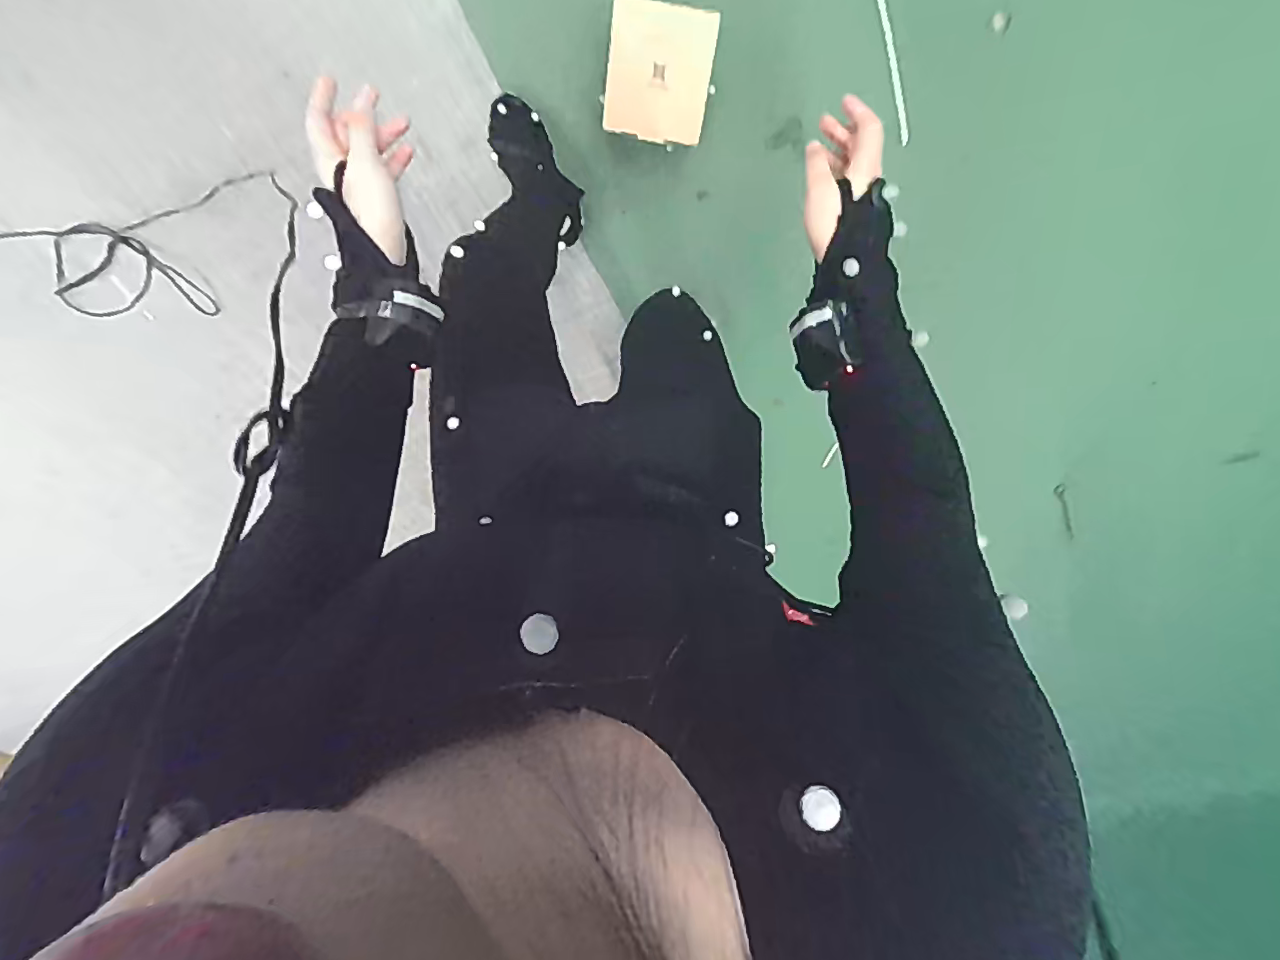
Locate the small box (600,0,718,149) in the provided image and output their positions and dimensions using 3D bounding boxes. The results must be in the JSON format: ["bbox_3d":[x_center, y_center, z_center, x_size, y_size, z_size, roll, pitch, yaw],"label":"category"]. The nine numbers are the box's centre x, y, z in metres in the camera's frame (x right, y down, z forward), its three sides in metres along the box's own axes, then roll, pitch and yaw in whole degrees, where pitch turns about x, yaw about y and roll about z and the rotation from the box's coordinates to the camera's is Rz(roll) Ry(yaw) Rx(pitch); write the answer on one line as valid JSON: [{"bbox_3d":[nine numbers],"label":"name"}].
[{"bbox_3d":[0.029,-0.684,0.926,0.168,0.176,0.179,7,123,-4],"label":"small box"}]
